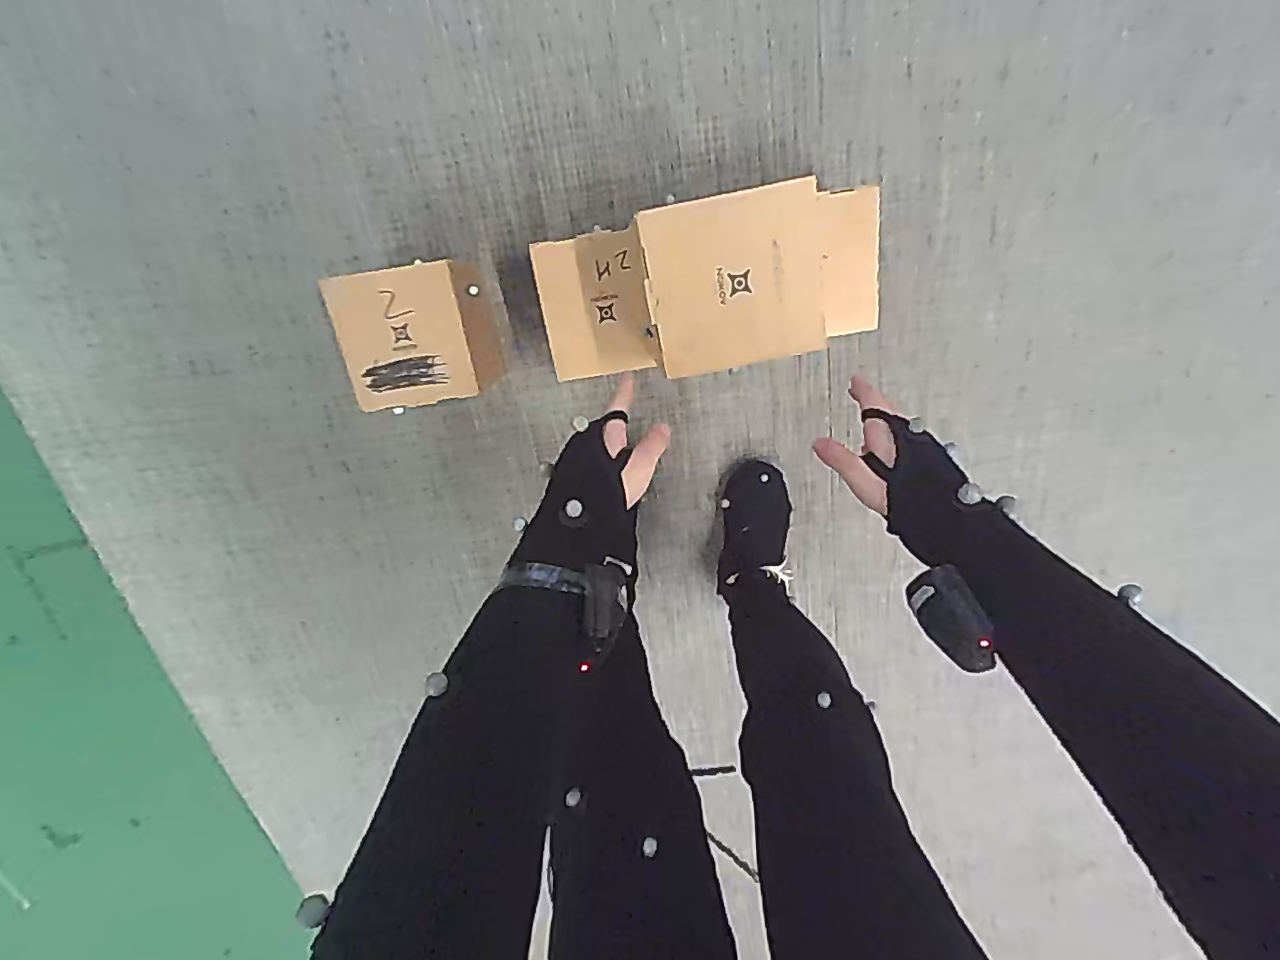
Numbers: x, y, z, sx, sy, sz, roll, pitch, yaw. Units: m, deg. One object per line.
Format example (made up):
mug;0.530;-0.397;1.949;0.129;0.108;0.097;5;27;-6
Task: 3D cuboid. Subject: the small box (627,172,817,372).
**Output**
small box;0.082;-0.229;0.612;0.179;0.176;0.168;-11;112;0

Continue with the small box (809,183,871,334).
small box;0.209;-0.303;0.765;0.168;0.176;0.179;-9;111;1
